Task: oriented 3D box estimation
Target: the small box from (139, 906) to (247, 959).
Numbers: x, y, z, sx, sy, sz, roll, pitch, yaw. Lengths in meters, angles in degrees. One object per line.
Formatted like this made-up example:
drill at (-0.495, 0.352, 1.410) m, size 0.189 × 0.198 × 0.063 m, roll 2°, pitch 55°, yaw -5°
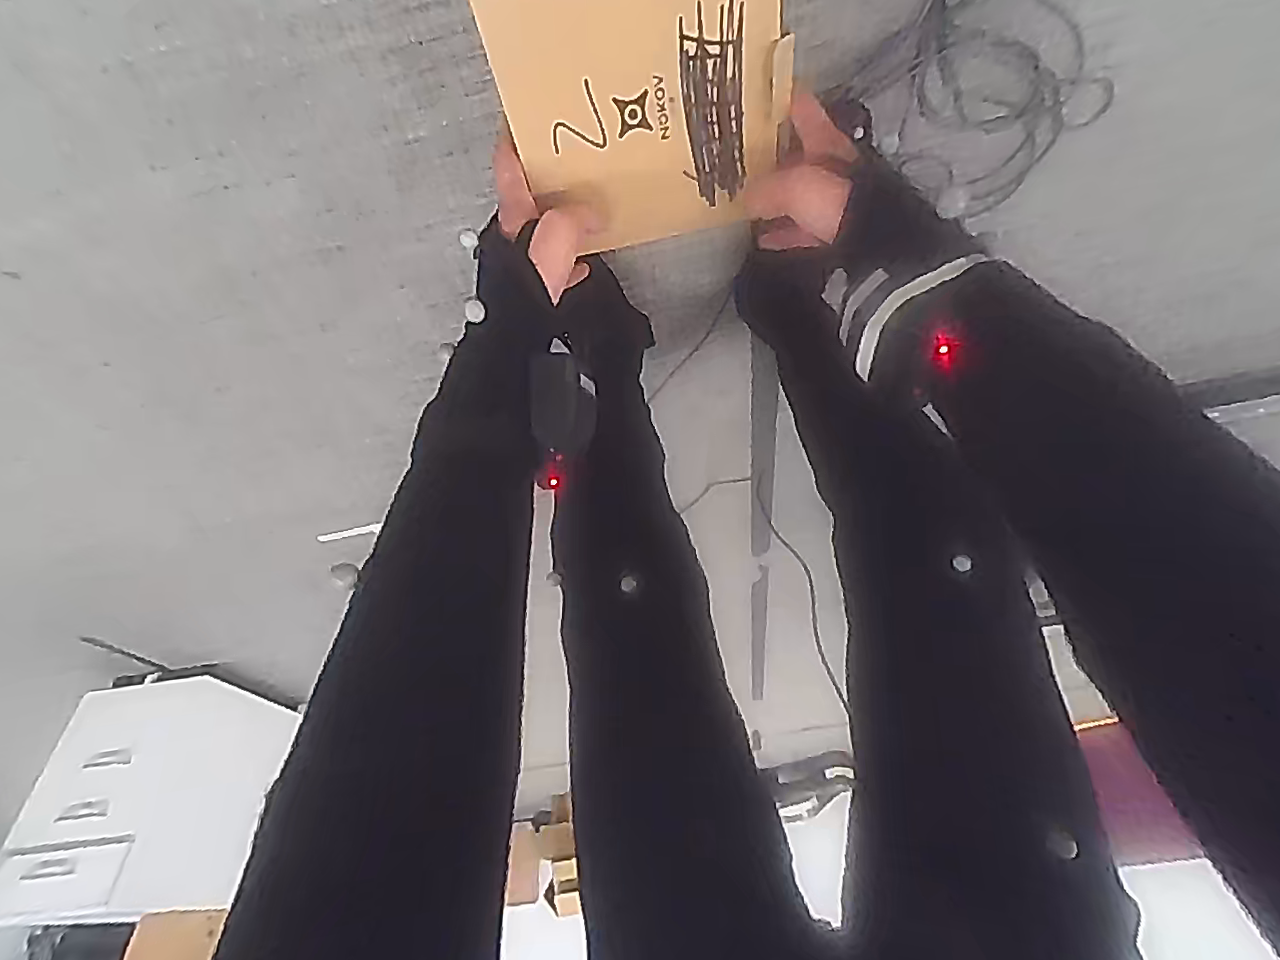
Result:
small box at (-1.292, 1.346, 1.558) m, size 0.179 × 0.176 × 0.168 m, roll -10°, pitch 142°, yaw 5°

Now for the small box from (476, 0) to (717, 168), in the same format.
small box at (-0.037, -0.415, 0.481) m, size 0.179 × 0.176 × 0.168 m, roll -12°, pitch 141°, yaw 6°
